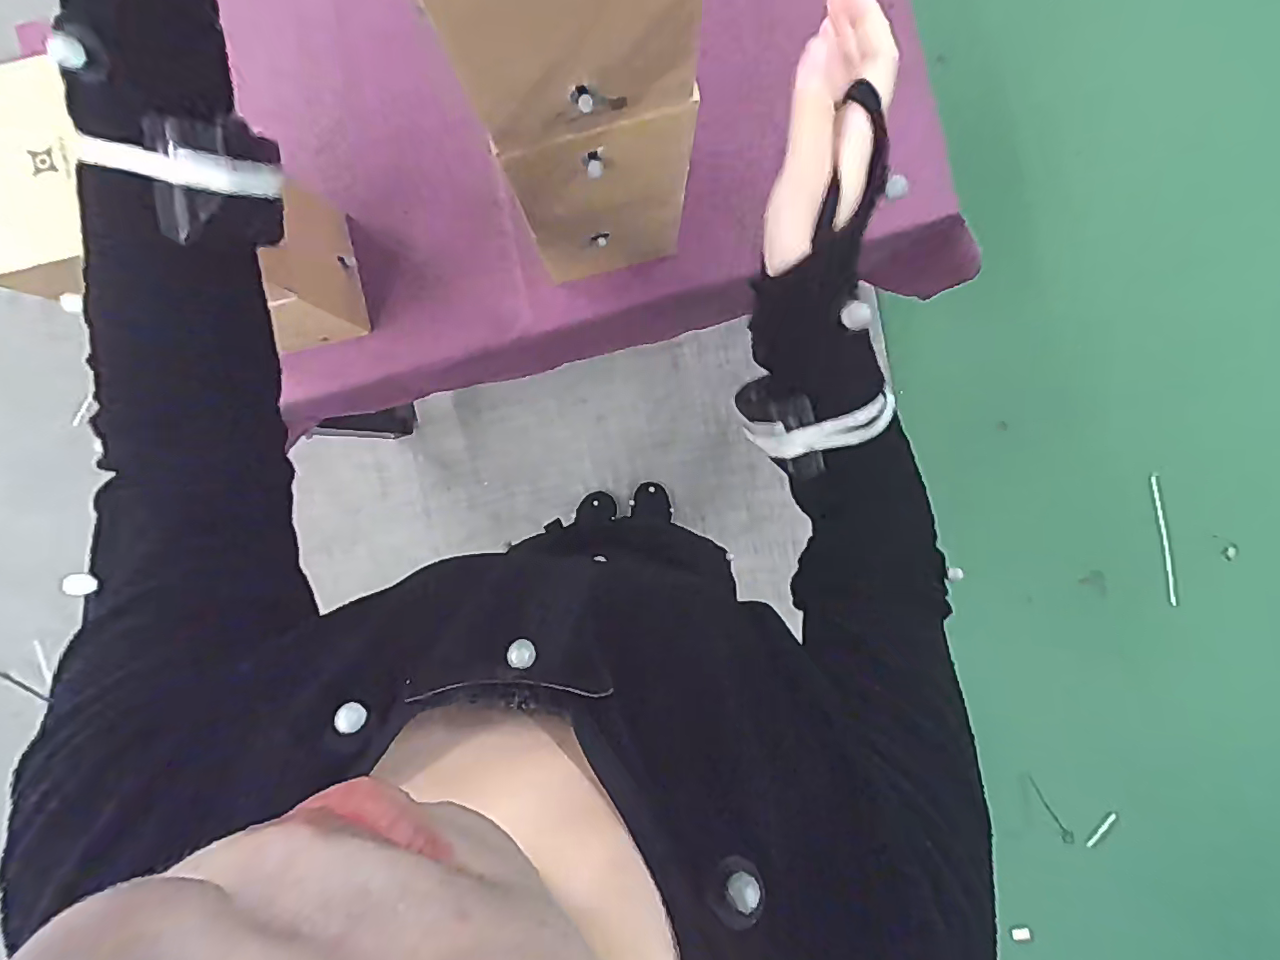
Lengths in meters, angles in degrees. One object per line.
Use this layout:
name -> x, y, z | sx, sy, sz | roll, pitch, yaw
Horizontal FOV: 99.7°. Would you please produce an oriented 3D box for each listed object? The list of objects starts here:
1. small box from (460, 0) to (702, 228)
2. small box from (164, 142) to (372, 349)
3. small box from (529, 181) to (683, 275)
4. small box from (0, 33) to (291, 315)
small box -> -0.050, -0.369, 0.515 | 0.179, 0.176, 0.168 | -13, 93, 3
small box -> -0.476, -0.283, 0.691 | 0.168, 0.176, 0.179 | -12, 92, 2
small box -> -0.050, -0.377, 0.678 | 0.179, 0.176, 0.168 | -13, 93, 1
small box -> -0.478, -0.275, 0.527 | 0.179, 0.176, 0.168 | -11, 93, 2
